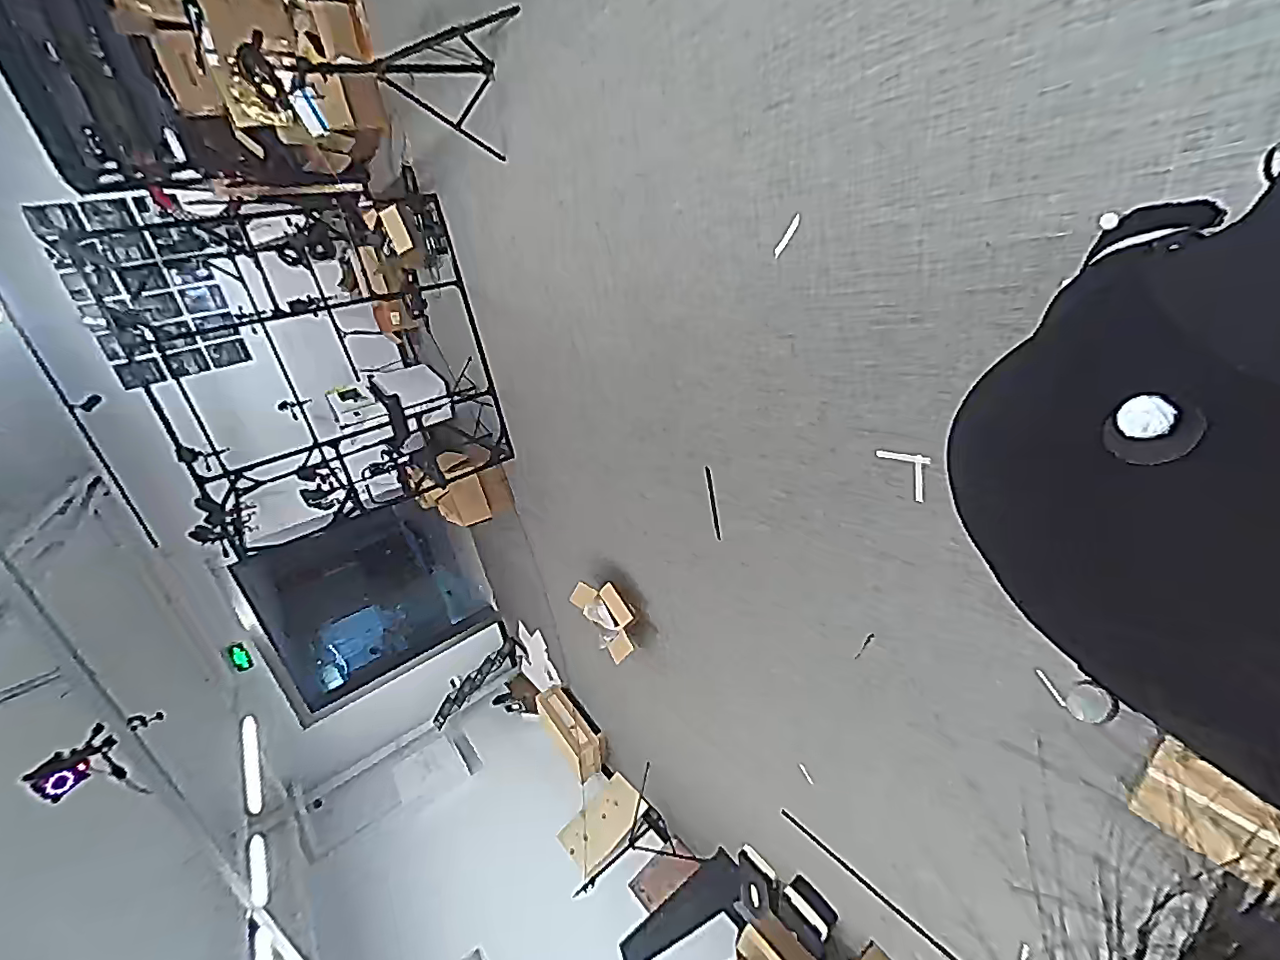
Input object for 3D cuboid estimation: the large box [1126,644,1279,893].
[{"bbox_3d":[1.353,0.626,1.125,0.408,0.320,0.320,28,135,45],"label":"large box"}]
